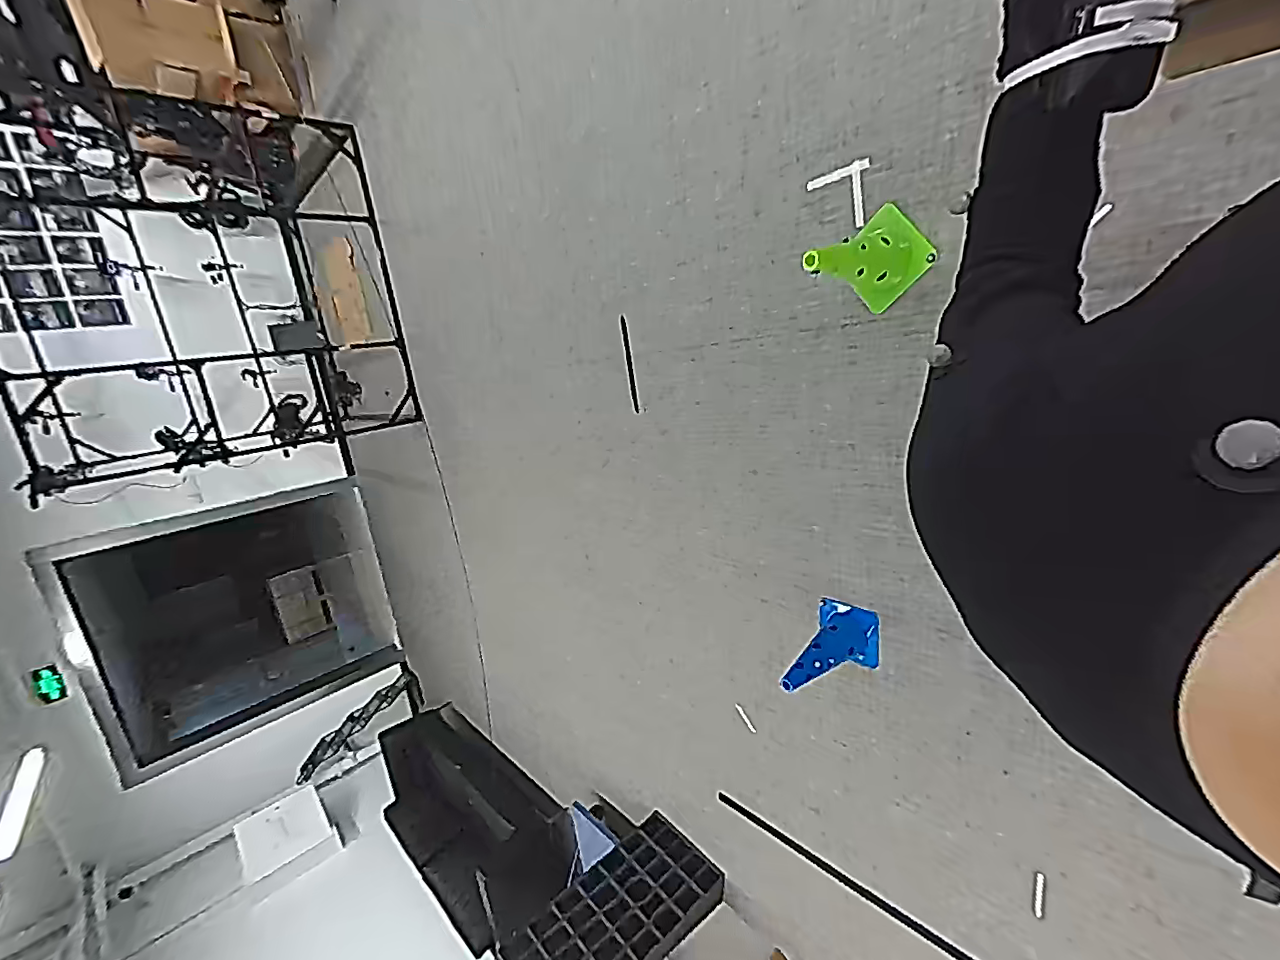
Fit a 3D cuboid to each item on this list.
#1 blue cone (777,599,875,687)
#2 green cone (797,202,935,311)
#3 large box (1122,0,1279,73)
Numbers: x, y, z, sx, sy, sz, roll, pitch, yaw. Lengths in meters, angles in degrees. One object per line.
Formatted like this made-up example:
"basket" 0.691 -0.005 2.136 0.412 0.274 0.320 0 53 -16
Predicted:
"blue cone" 0.557 0.536 1.672 0.192 0.380 0.193 13 114 48
"green cone" 0.494 -0.525 1.283 0.200 0.368 0.202 58 141 16
"large box" 0.524 -0.473 0.258 0.408 0.320 0.320 9 117 45
